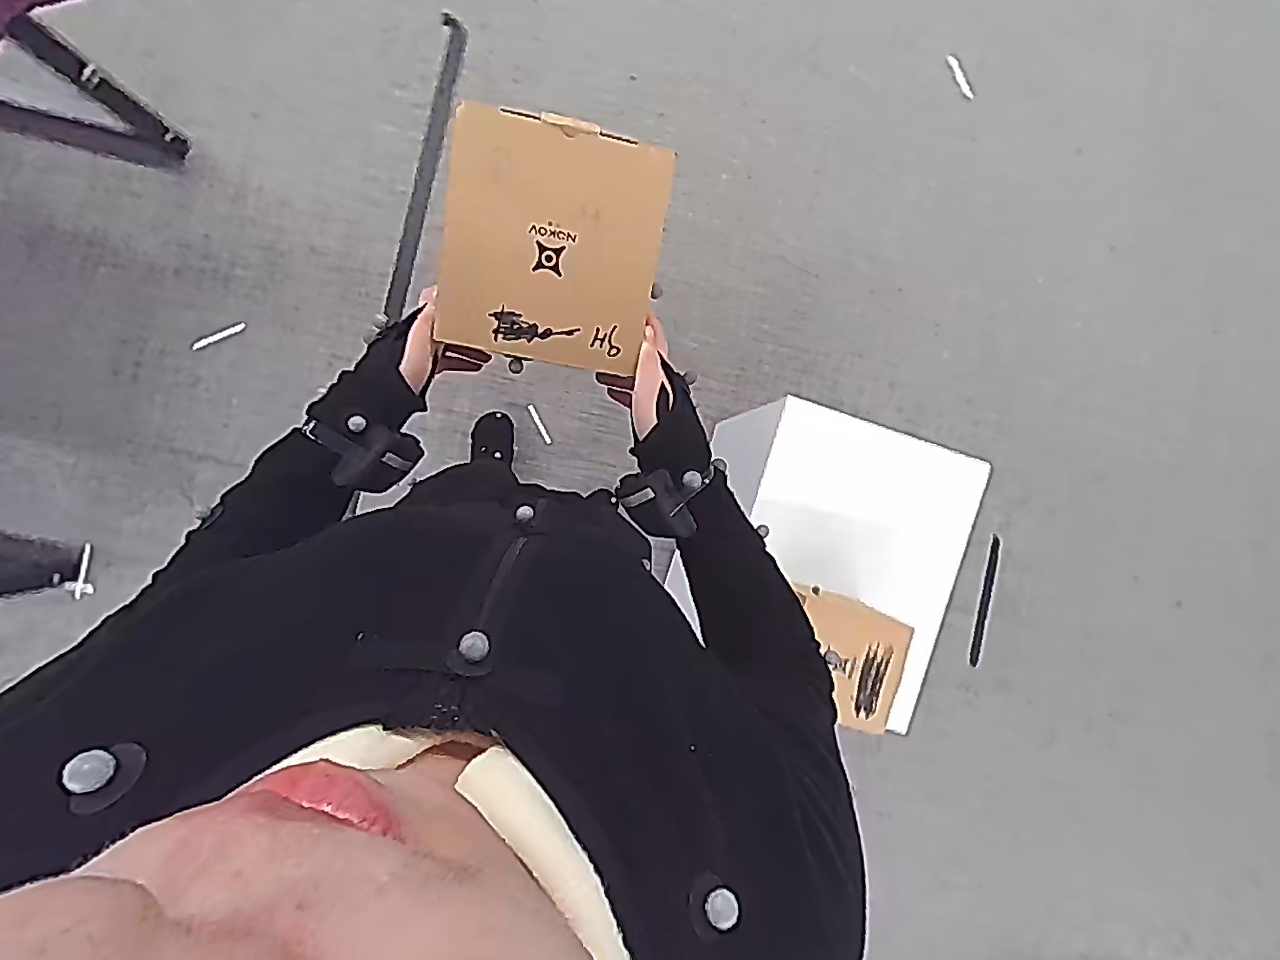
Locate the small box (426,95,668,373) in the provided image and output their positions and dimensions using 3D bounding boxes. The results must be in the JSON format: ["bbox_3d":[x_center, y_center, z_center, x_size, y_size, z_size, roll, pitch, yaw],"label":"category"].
[{"bbox_3d":[-0.079,-0.201,0.495,0.168,0.176,0.179,9,102,-5],"label":"small box"}]
